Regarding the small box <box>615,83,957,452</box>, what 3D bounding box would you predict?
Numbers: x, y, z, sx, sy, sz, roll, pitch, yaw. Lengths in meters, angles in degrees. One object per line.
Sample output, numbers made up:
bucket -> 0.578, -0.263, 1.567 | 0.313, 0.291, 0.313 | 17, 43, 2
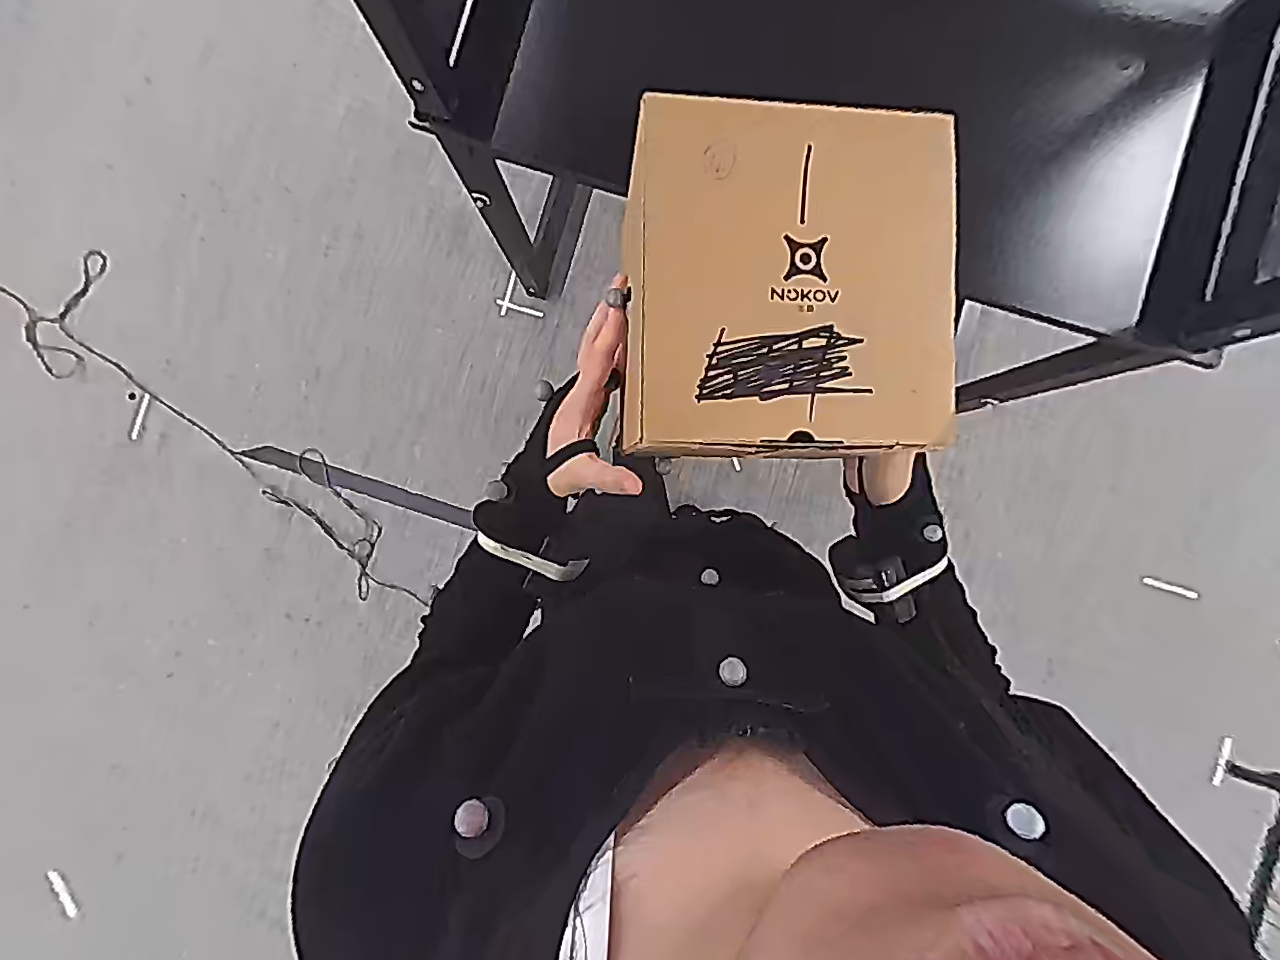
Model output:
small box -> 0.072, -0.107, 0.350 | 0.168, 0.176, 0.179 | 0, 91, -6
